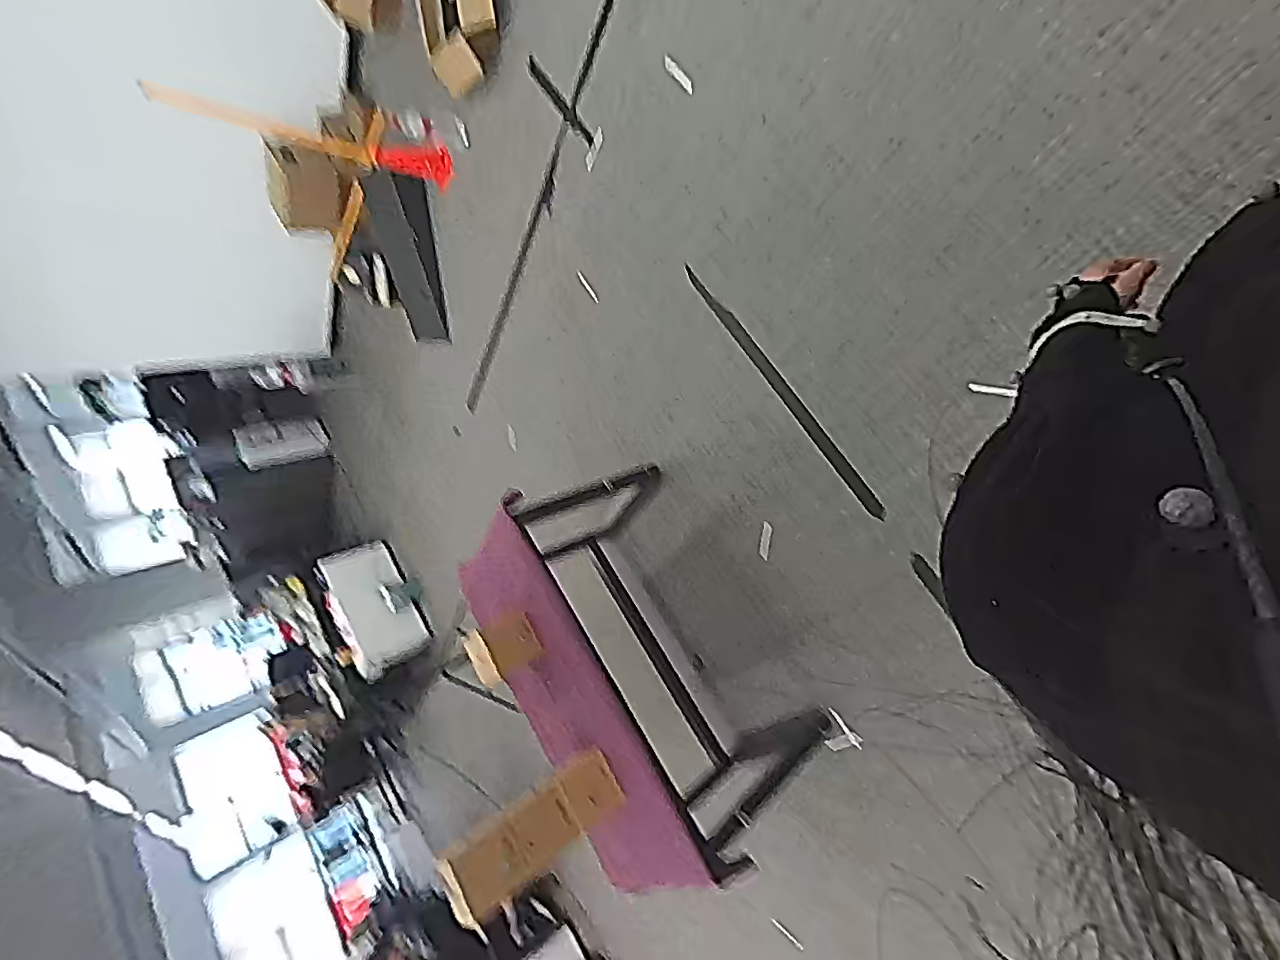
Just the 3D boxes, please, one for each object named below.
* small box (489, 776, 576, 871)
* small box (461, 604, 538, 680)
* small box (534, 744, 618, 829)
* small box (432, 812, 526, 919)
[{"bbox_3d":[-0.310,0.981,1.550,0.168,0.176,0.179,57,139,15],"label":"small box"},{"bbox_3d":[-0.464,0.537,1.793,0.179,0.176,0.168,-42,75,47],"label":"small box"},{"bbox_3d":[-0.190,0.935,1.653,0.168,0.176,0.179,57,138,14],"label":"small box"},{"bbox_3d":[-0.429,1.020,1.443,0.168,0.176,0.179,57,138,14],"label":"small box"}]
